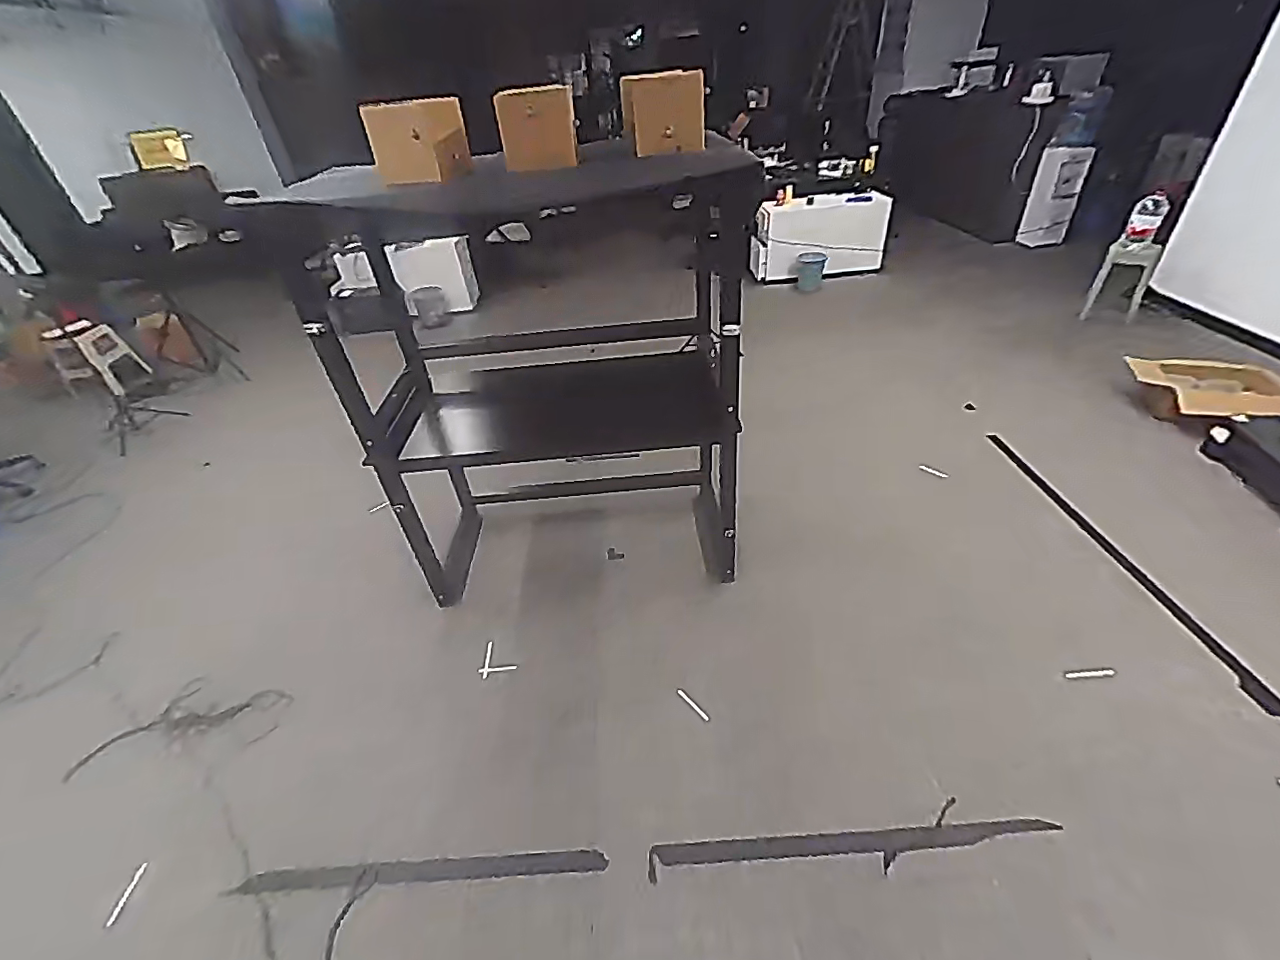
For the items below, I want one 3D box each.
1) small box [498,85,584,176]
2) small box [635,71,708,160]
[{"bbox_3d":[-0.240,-0.883,1.364,0.179,0.176,0.168,-6,37,1],"label":"small box"},{"bbox_3d":[0.083,-0.907,1.347,0.168,0.176,0.179,-1,38,7],"label":"small box"}]
